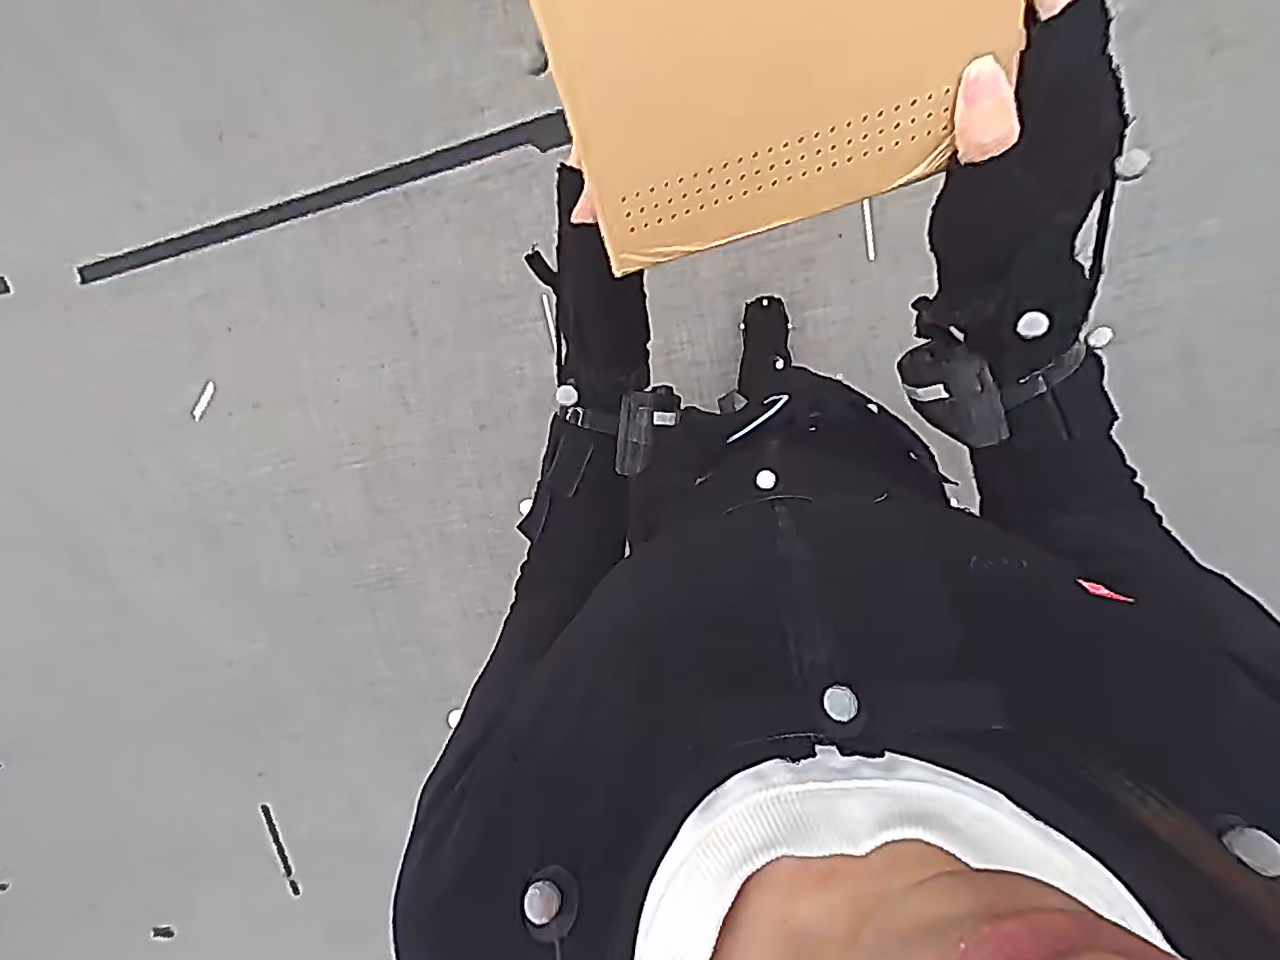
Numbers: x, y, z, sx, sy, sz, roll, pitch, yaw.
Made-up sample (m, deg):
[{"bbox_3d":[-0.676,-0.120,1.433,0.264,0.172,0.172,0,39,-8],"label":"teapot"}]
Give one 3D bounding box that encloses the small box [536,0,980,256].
[{"bbox_3d":[0.048,-0.234,0.270,0.179,0.168,0.176,-13,129,11],"label":"small box"}]
